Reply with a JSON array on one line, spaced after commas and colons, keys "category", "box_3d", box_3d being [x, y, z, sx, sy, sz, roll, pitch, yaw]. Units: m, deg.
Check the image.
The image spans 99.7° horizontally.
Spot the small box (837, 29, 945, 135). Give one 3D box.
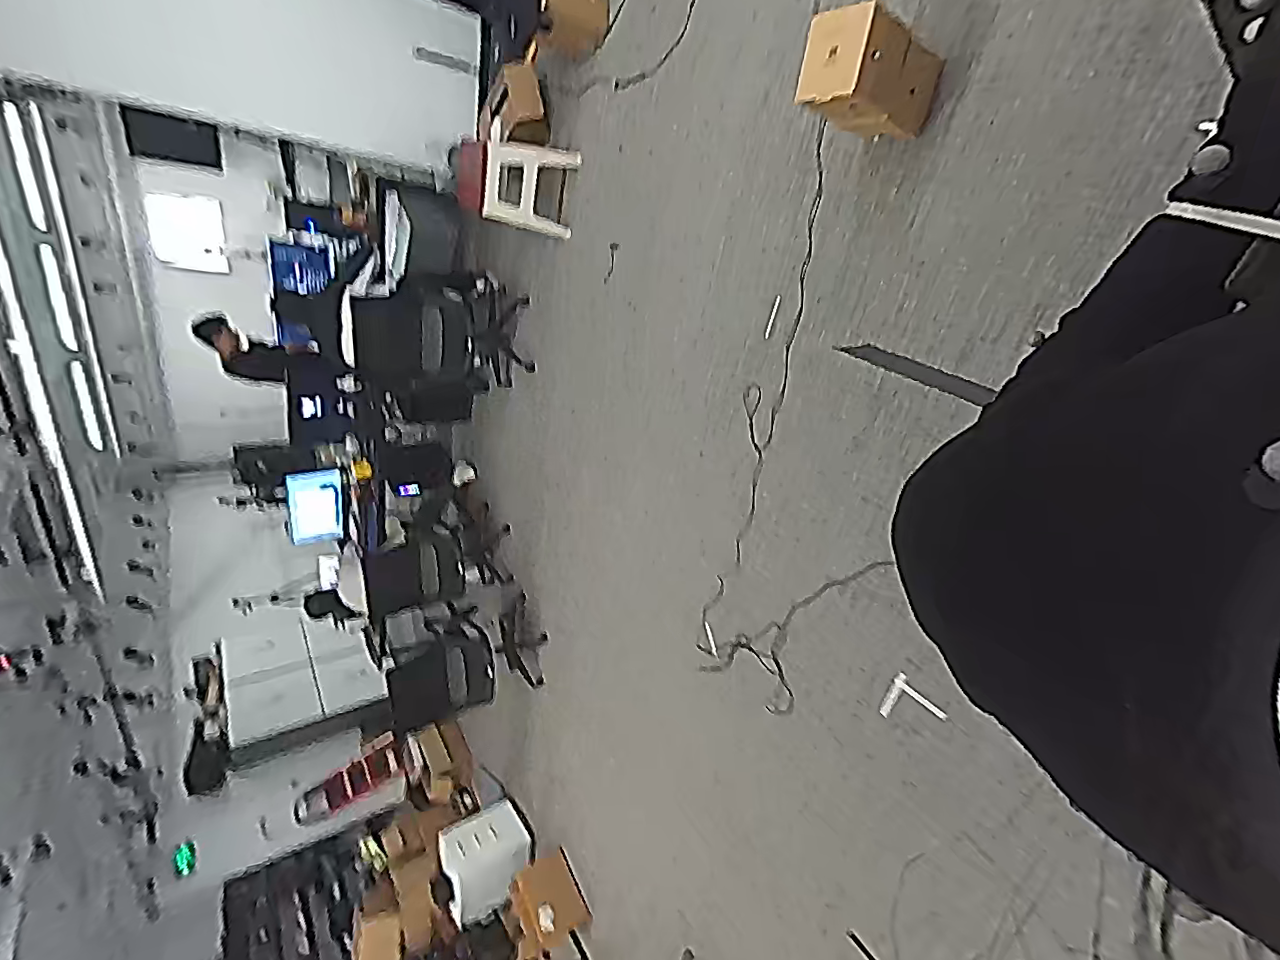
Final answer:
[{"category": "small box", "box_3d": [0.643, -1.005, 1.379, 0.168, 0.176, 0.179, 36, 125, 43]}]

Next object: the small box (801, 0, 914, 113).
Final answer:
[{"category": "small box", "box_3d": [0.516, -0.993, 1.279, 0.168, 0.176, 0.179, 32, 120, 44]}]
